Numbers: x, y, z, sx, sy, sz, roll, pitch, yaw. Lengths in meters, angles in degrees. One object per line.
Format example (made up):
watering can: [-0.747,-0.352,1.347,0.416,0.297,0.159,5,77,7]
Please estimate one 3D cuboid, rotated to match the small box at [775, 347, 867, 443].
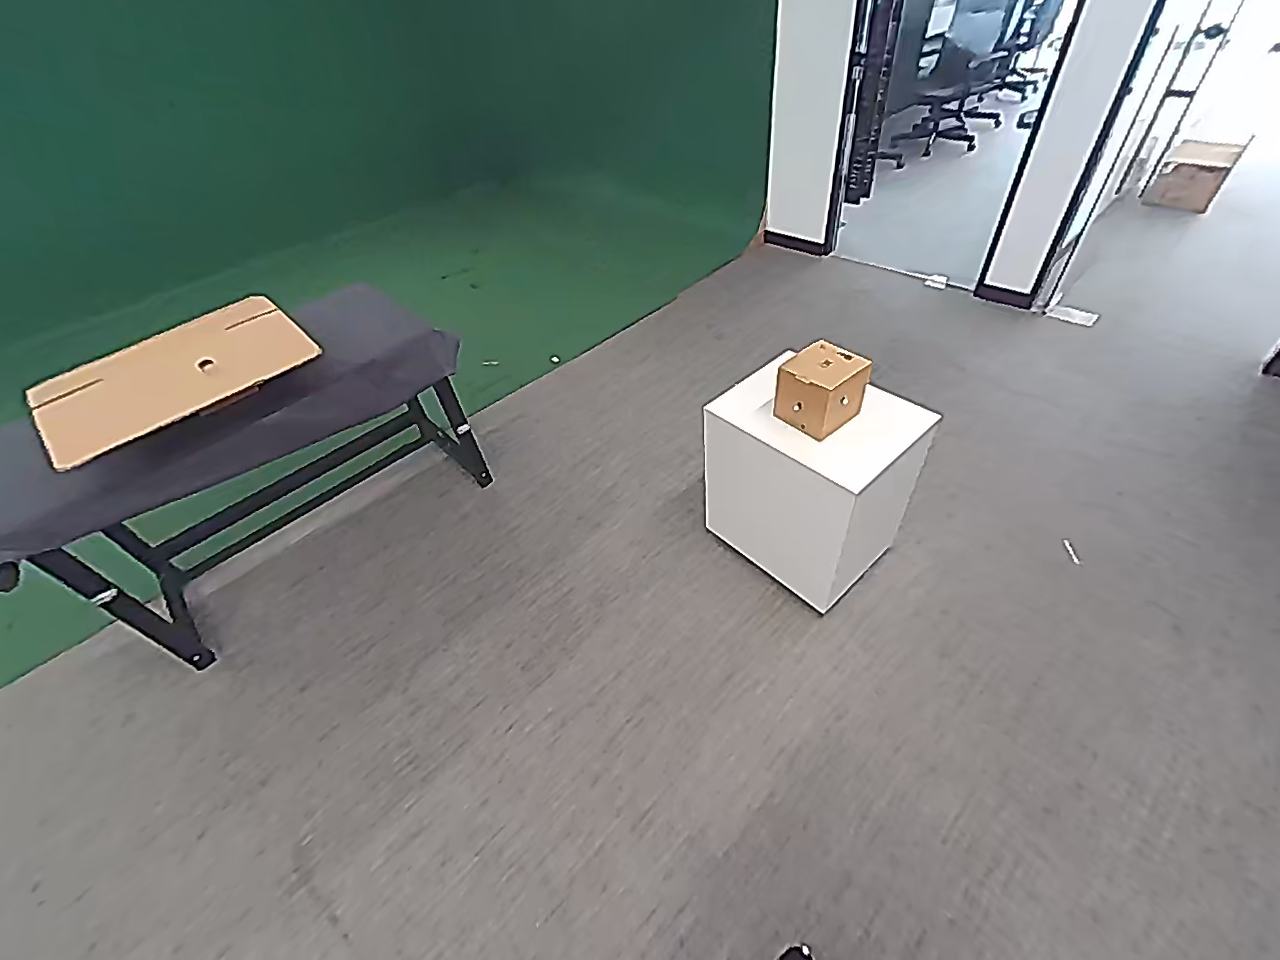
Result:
small box: [0.481,-0.227,1.459,0.179,0.176,0.168,-34,50,-25]
